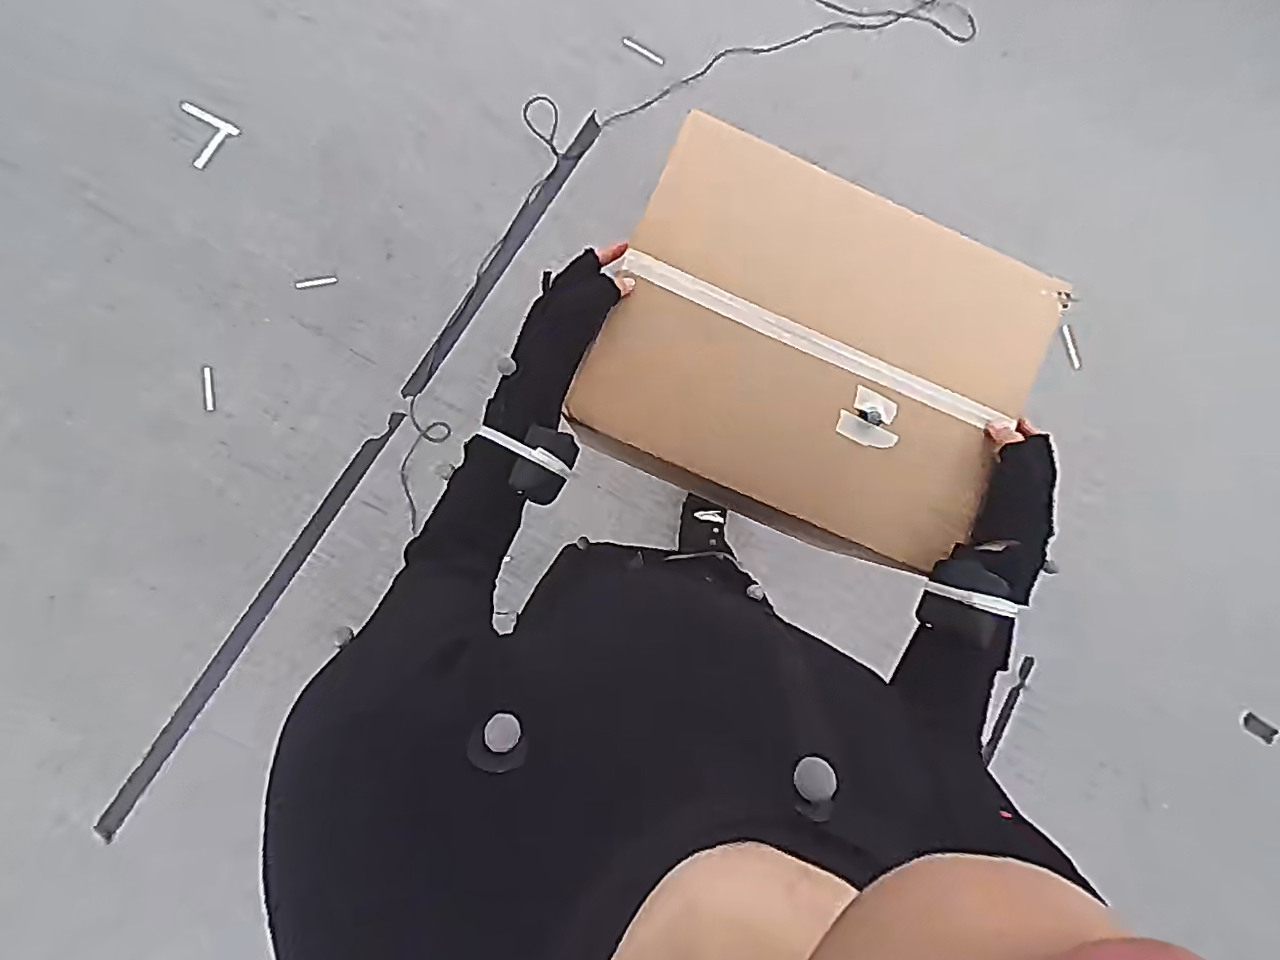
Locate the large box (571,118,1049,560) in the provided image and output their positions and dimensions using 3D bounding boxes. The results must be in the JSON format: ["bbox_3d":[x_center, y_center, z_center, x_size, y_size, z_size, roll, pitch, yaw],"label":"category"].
[{"bbox_3d":[0.160,-0.134,0.672,0.408,0.320,0.320,24,89,-4],"label":"large box"}]
